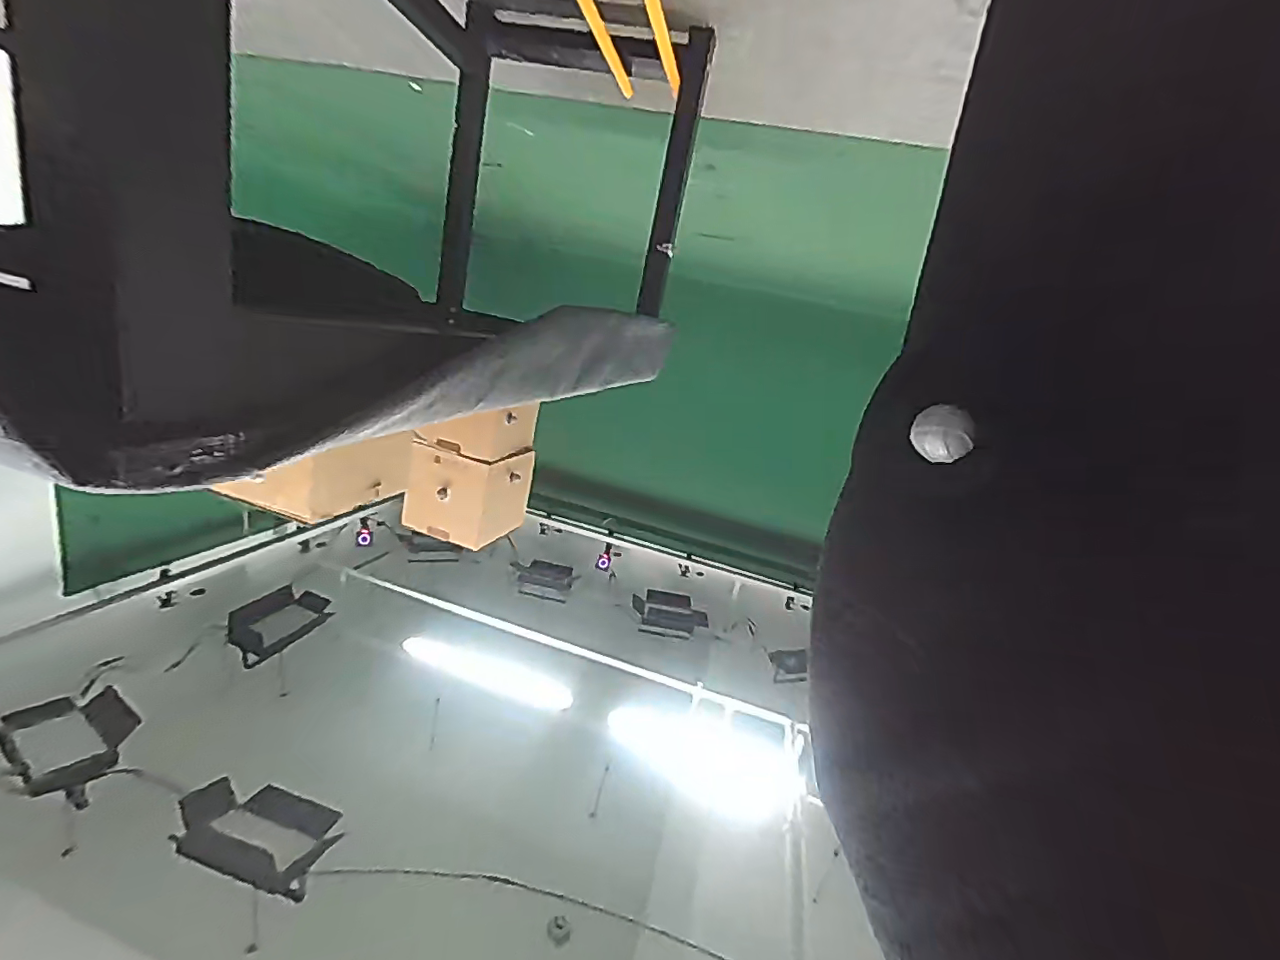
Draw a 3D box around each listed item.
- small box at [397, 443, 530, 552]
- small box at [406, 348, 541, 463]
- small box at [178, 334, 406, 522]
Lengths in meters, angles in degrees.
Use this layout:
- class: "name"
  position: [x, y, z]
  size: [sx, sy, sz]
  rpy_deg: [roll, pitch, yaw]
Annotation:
- class: "small box"
  position: [-0.330, 0.014, 1.031]
  size: [0.168, 0.176, 0.179]
  rpy_deg: [17, -166, 12]
- class: "small box"
  position: [-0.299, -0.143, 0.991]
  size: [0.168, 0.176, 0.179]
  rpy_deg: [16, -165, 10]
- class: "small box"
  position: [-0.398, -0.072, 0.638]
  size: [0.179, 0.176, 0.168]
  rpy_deg: [16, -166, 10]
